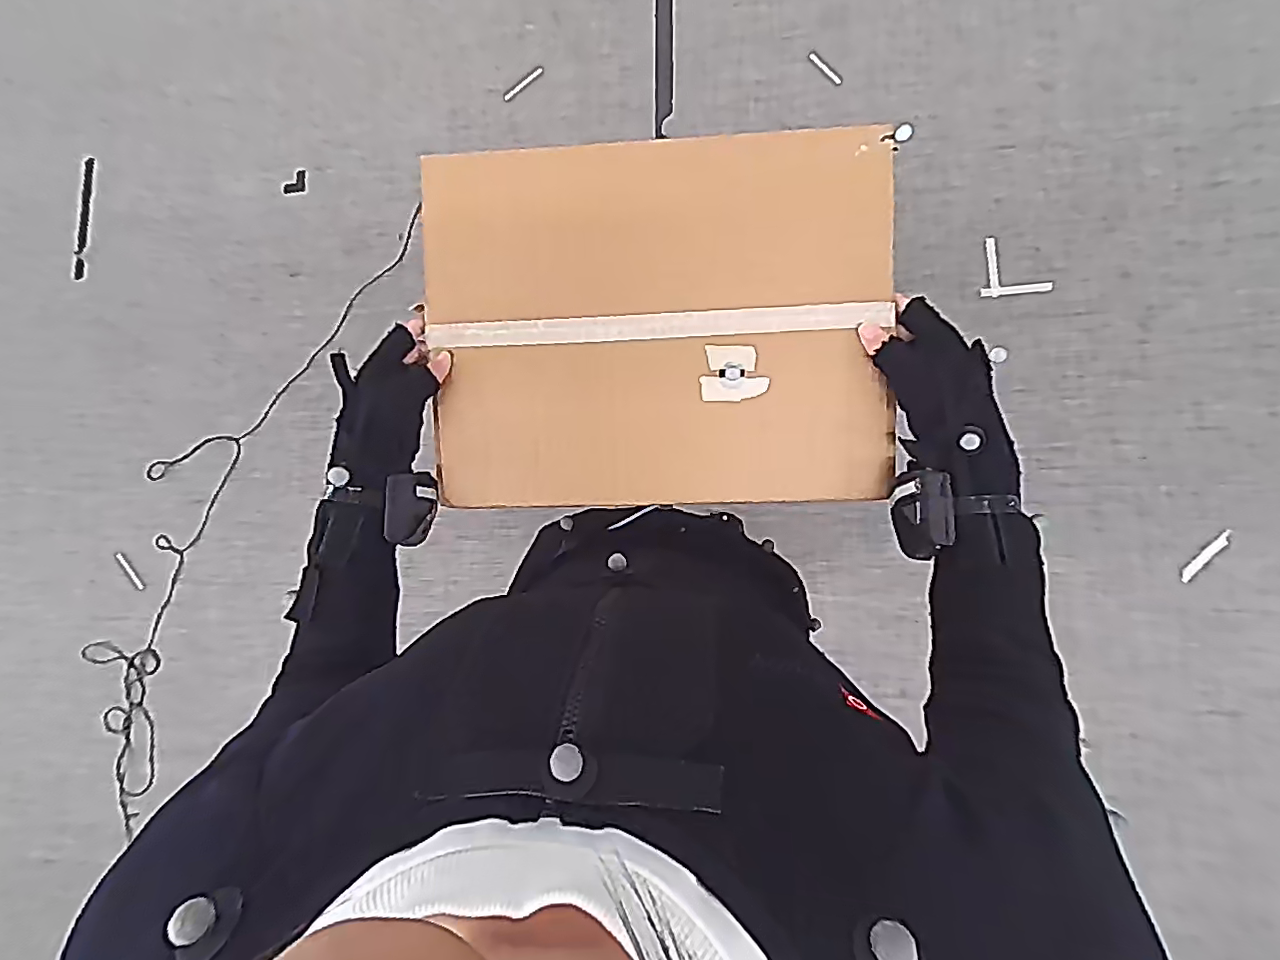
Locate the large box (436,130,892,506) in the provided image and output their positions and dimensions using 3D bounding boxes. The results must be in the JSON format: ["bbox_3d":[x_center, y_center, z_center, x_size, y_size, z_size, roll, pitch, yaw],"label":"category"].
[{"bbox_3d":[0.027,-0.147,0.631,0.408,0.320,0.320,-2,94,4],"label":"large box"}]
